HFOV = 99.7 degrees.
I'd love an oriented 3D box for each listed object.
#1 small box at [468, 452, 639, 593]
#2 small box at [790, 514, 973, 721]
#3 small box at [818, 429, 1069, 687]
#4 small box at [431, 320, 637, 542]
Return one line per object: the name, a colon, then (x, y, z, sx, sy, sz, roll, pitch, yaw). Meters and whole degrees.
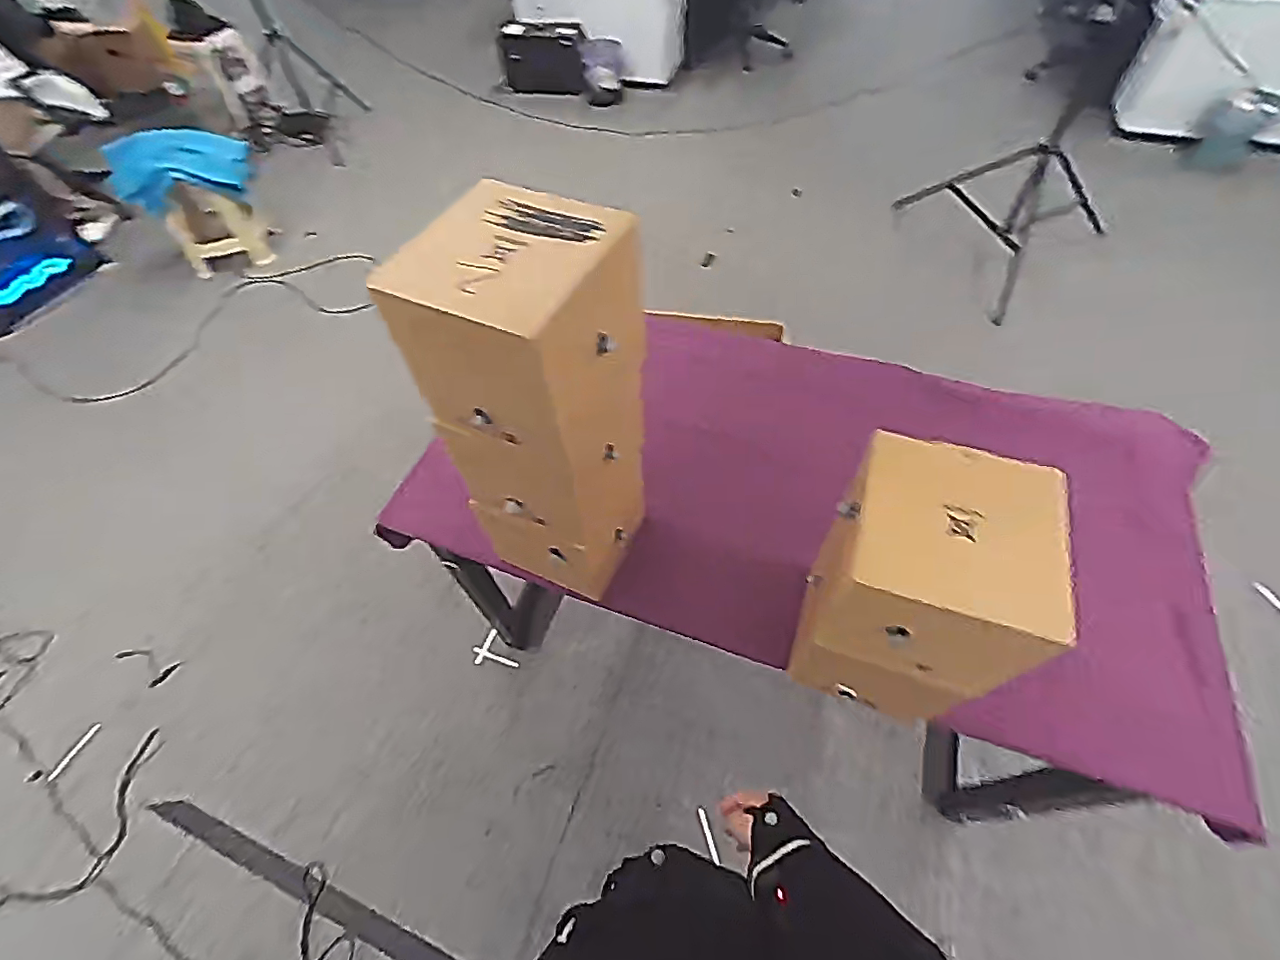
small box: (-0.110, 0.043, 0.783, 0.179, 0.176, 0.168, 19, 58, 16)
small box: (0.294, 0.172, 0.672, 0.168, 0.176, 0.179, 15, 59, 15)
small box: (0.284, 0.082, 0.537, 0.168, 0.176, 0.179, 15, 57, 15)
small box: (-0.110, -0.056, 0.651, 0.168, 0.176, 0.179, 19, 59, 15)
